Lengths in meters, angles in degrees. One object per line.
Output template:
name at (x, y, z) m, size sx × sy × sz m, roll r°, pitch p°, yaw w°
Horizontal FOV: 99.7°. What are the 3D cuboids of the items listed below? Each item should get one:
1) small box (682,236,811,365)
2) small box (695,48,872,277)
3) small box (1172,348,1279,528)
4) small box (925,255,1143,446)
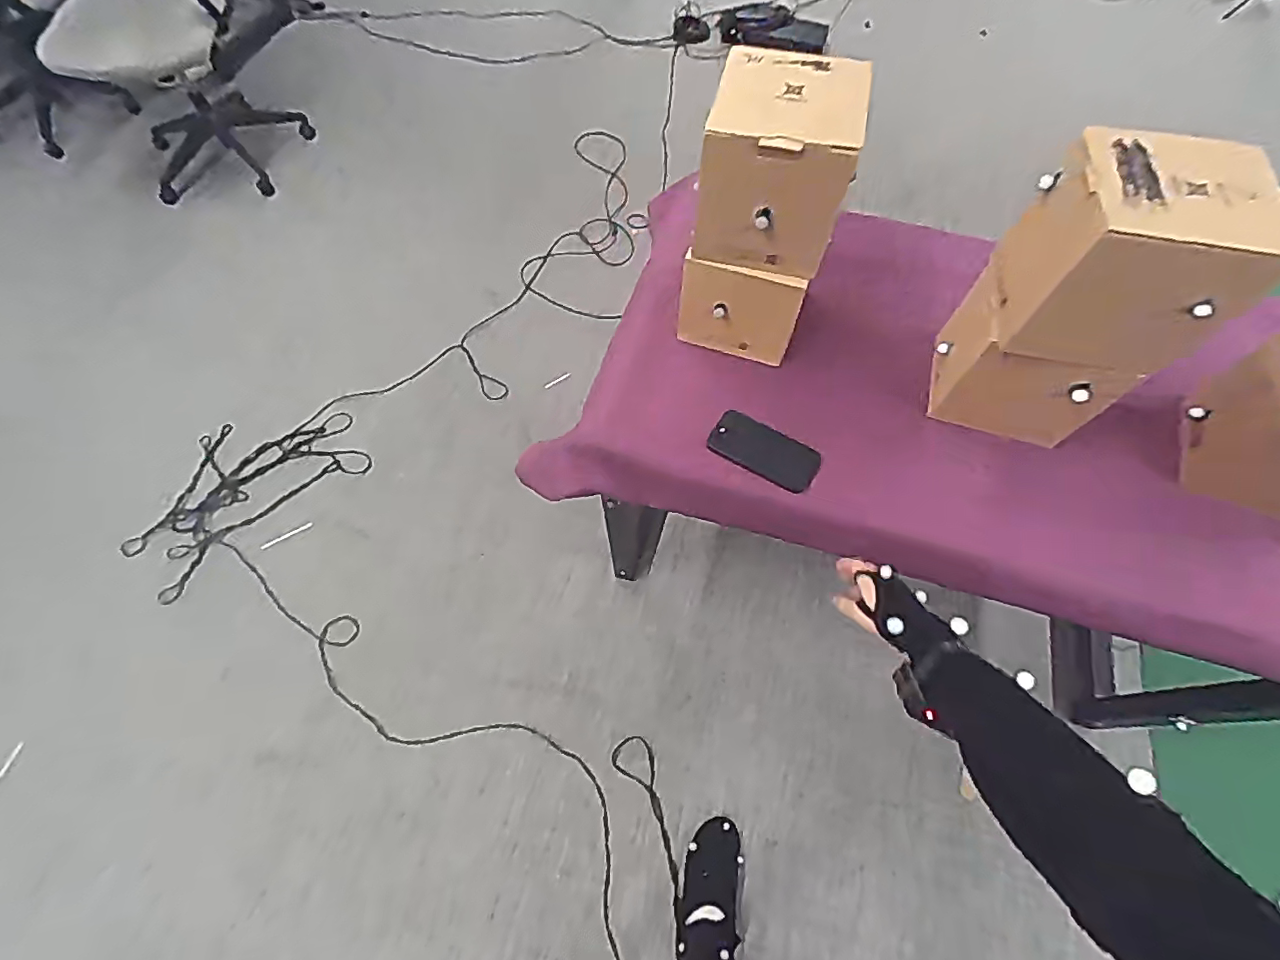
small box at (0.165, -0.302, 0.810) m, size 0.168 × 0.176 × 0.179 m, roll 18°, pitch 65°, yaw 10°
small box at (0.166, -0.382, 0.667) m, size 0.168 × 0.176 × 0.179 m, roll 14°, pitch 65°, yaw 7°
small box at (0.839, -0.051, 0.679) m, size 0.179 × 0.176 × 0.168 m, roll 24°, pitch 66°, yaw 12°
small box at (0.525, -0.166, 0.738) m, size 0.179 × 0.176 × 0.168 m, roll 18°, pitch 65°, yaw 9°
